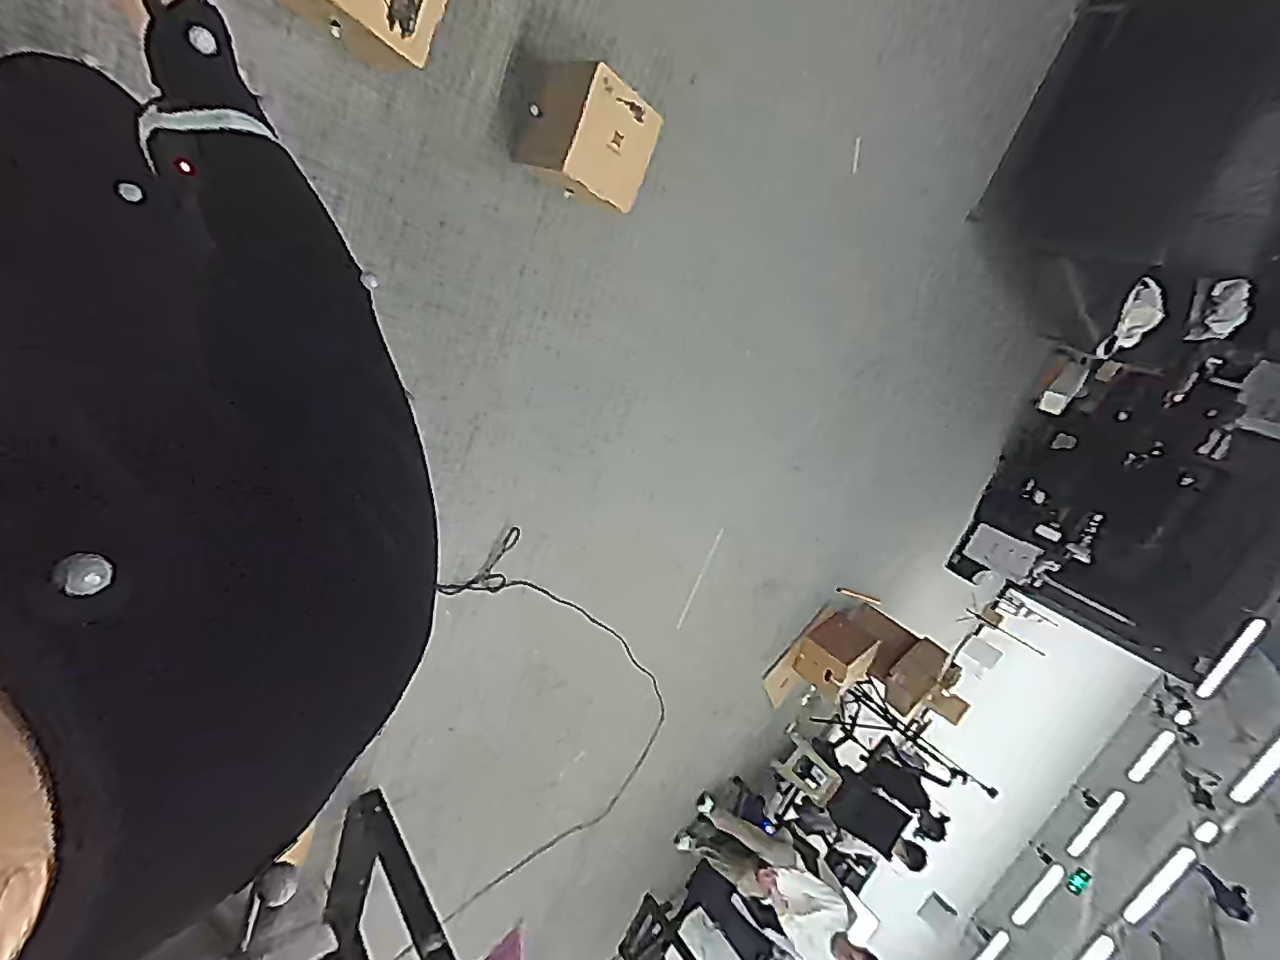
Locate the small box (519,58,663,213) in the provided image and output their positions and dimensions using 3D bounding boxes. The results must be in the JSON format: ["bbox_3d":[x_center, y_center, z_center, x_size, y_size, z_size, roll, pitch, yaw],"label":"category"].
[{"bbox_3d":[-0.096,-0.619,0.981,0.168,0.176,0.179,7,112,-48],"label":"small box"}]
